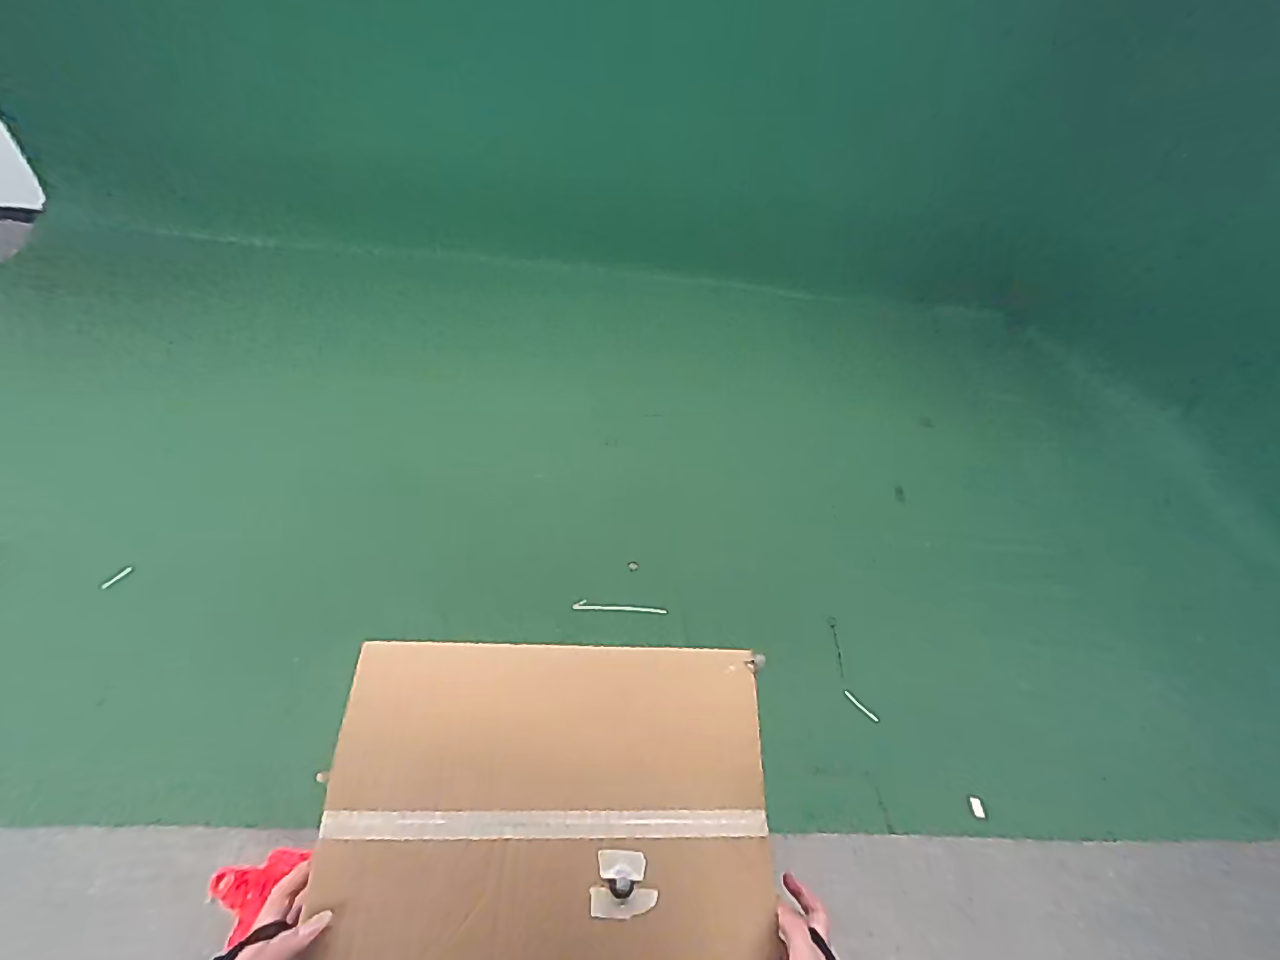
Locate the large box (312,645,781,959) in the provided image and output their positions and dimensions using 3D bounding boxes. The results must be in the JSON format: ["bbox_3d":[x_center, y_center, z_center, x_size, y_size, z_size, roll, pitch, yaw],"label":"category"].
[{"bbox_3d":[-0.090,0.383,0.638,0.408,0.320,0.320,2,64,-5],"label":"large box"}]

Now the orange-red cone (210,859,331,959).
[{"bbox_3d":[-0.771,0.863,1.098,0.199,0.360,0.198,8,45,2],"label":"orange-red cone"}]
